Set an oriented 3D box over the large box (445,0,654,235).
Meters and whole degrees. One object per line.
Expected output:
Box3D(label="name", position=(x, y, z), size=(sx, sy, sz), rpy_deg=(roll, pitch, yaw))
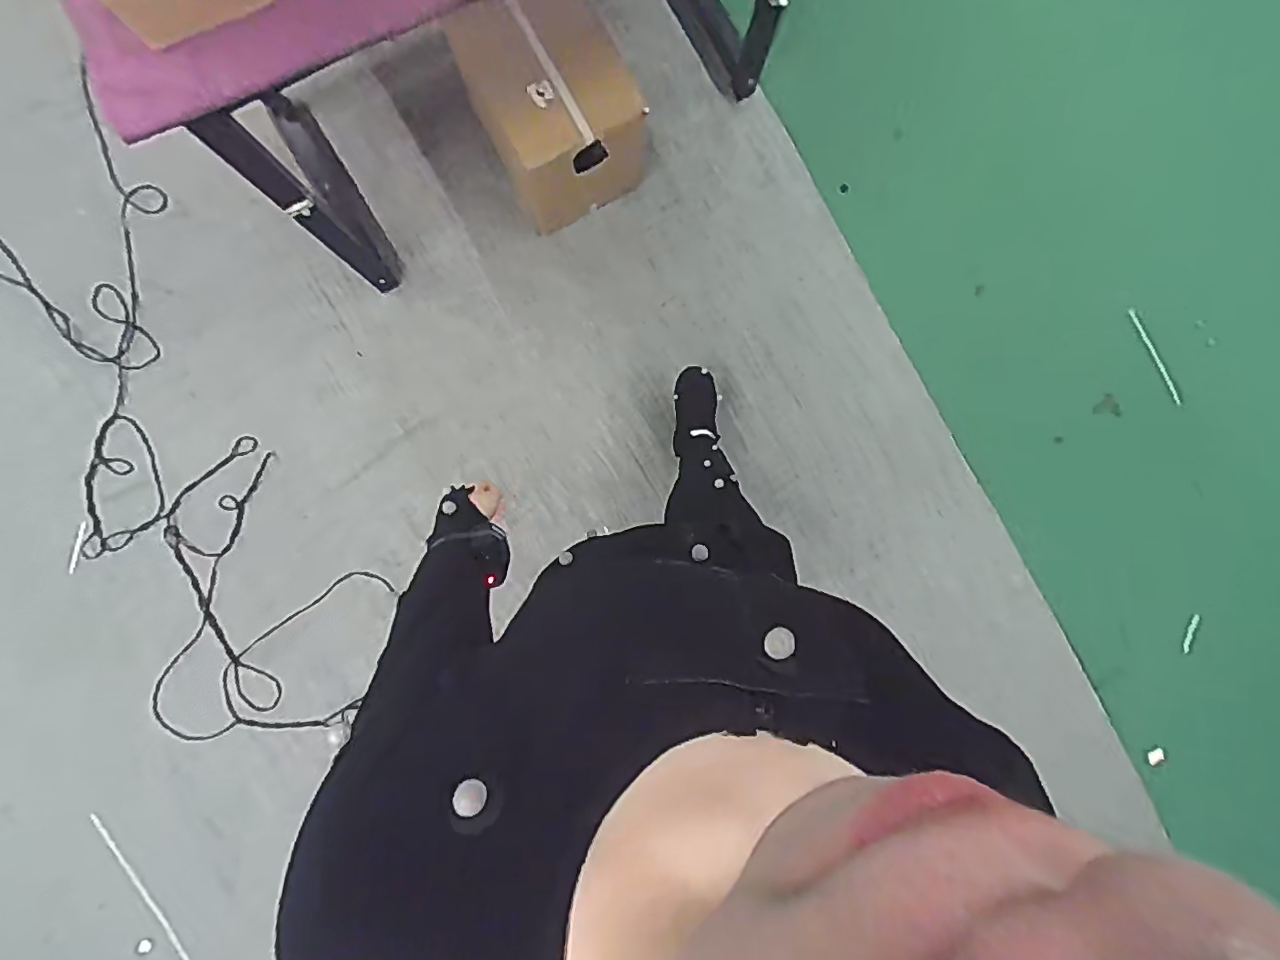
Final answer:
Box3D(label="large box", position=(-0.209, -0.914, 1.339), size=(0.320, 0.320, 0.408), rpy_deg=(-30, 92, -2))
